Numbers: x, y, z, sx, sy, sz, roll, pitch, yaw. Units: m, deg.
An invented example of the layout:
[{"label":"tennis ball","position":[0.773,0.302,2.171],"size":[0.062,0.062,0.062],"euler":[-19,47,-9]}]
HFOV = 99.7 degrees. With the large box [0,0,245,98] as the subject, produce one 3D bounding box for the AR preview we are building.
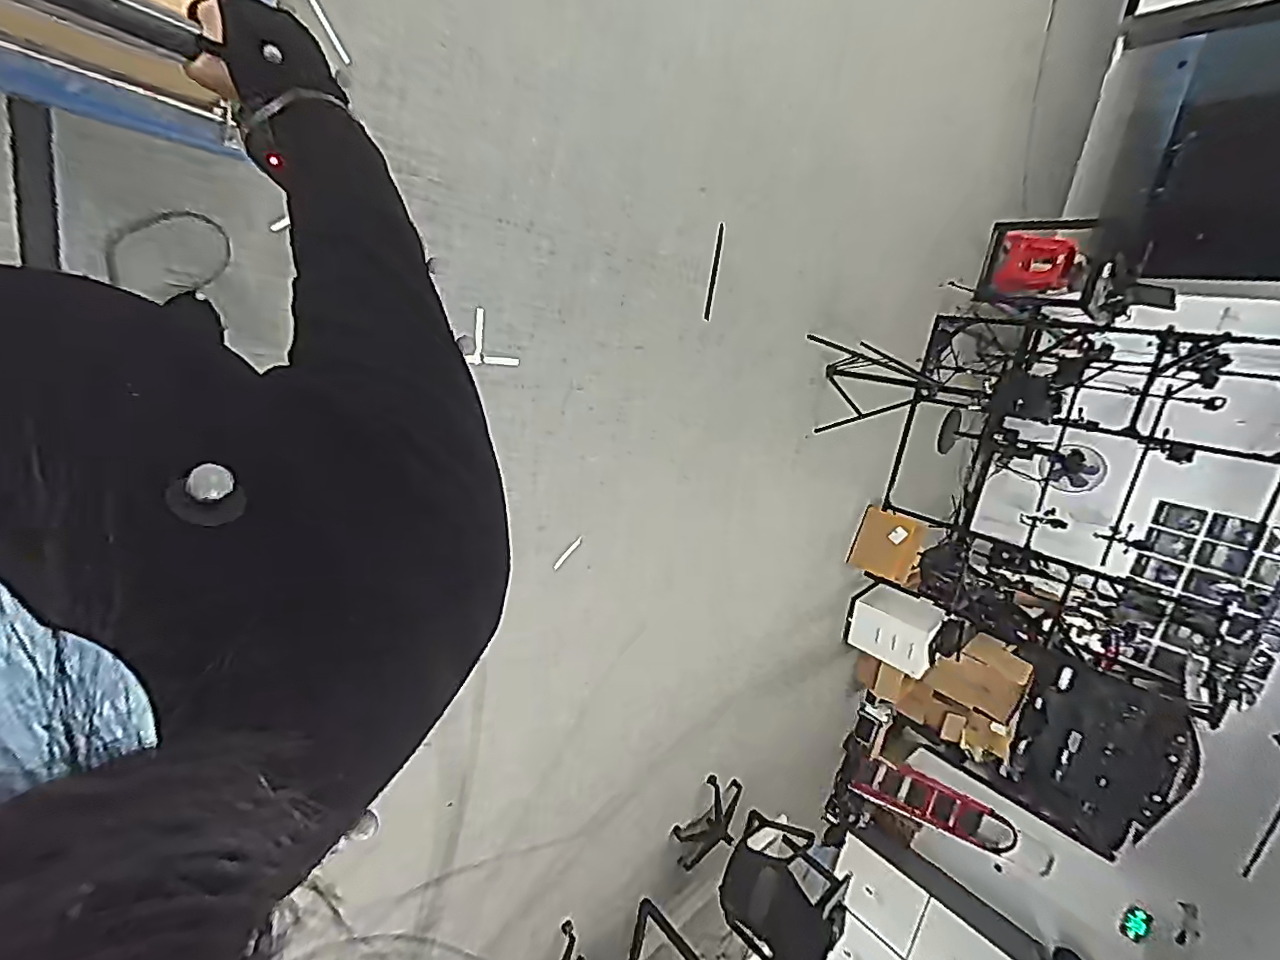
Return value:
[{"label":"large box","position":[-0.775,-0.759,0.680],"size":[0.408,0.320,0.320],"euler":[-4,111,-46]}]
